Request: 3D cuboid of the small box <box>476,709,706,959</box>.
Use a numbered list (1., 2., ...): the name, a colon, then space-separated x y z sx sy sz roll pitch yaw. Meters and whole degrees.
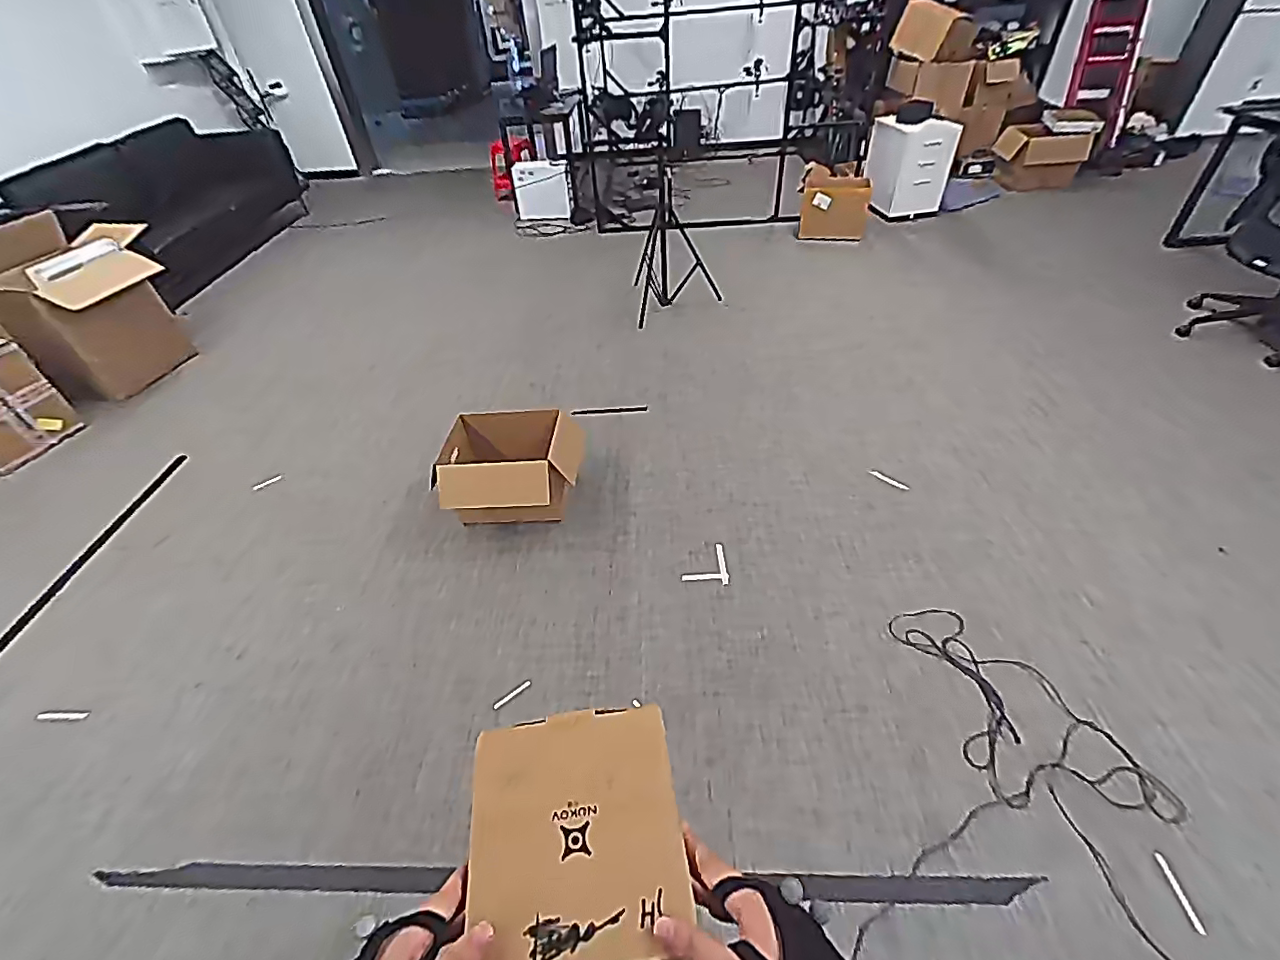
1. small box: -0.042 0.336 0.491 0.168 0.176 0.179 -7 46 -4
